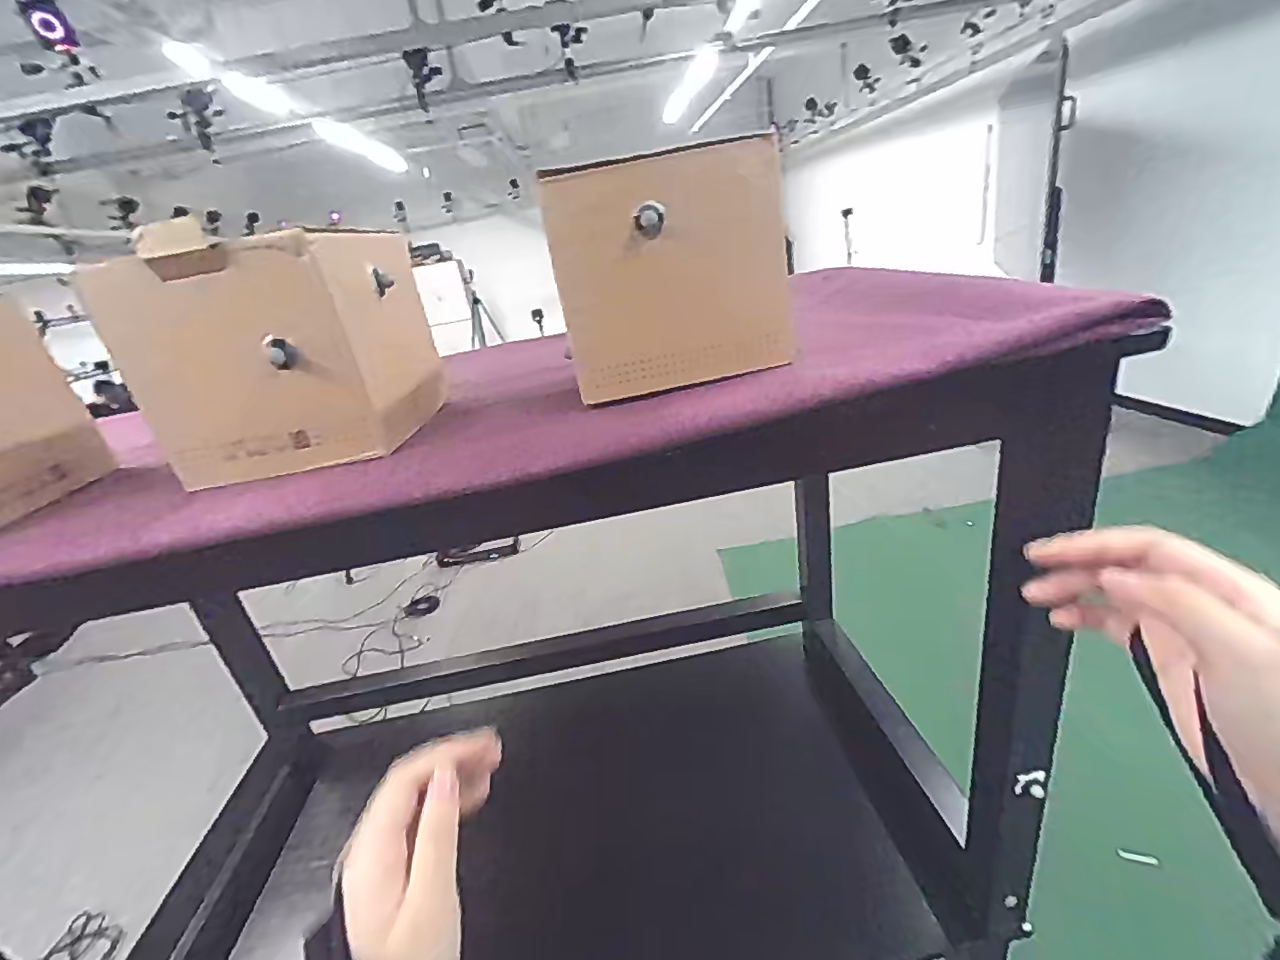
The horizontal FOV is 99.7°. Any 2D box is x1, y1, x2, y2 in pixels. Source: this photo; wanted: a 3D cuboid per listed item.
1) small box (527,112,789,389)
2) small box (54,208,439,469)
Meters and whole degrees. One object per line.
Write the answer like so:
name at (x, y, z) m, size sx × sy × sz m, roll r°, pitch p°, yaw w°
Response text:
small box at (0.015, -0.185, 0.471) m, size 0.179 × 0.176 × 0.168 m, roll -12°, pitch 21°, yaw -2°
small box at (-0.289, -0.116, 0.453) m, size 0.168 × 0.176 × 0.179 m, roll -9°, pitch 23°, yaw 1°
